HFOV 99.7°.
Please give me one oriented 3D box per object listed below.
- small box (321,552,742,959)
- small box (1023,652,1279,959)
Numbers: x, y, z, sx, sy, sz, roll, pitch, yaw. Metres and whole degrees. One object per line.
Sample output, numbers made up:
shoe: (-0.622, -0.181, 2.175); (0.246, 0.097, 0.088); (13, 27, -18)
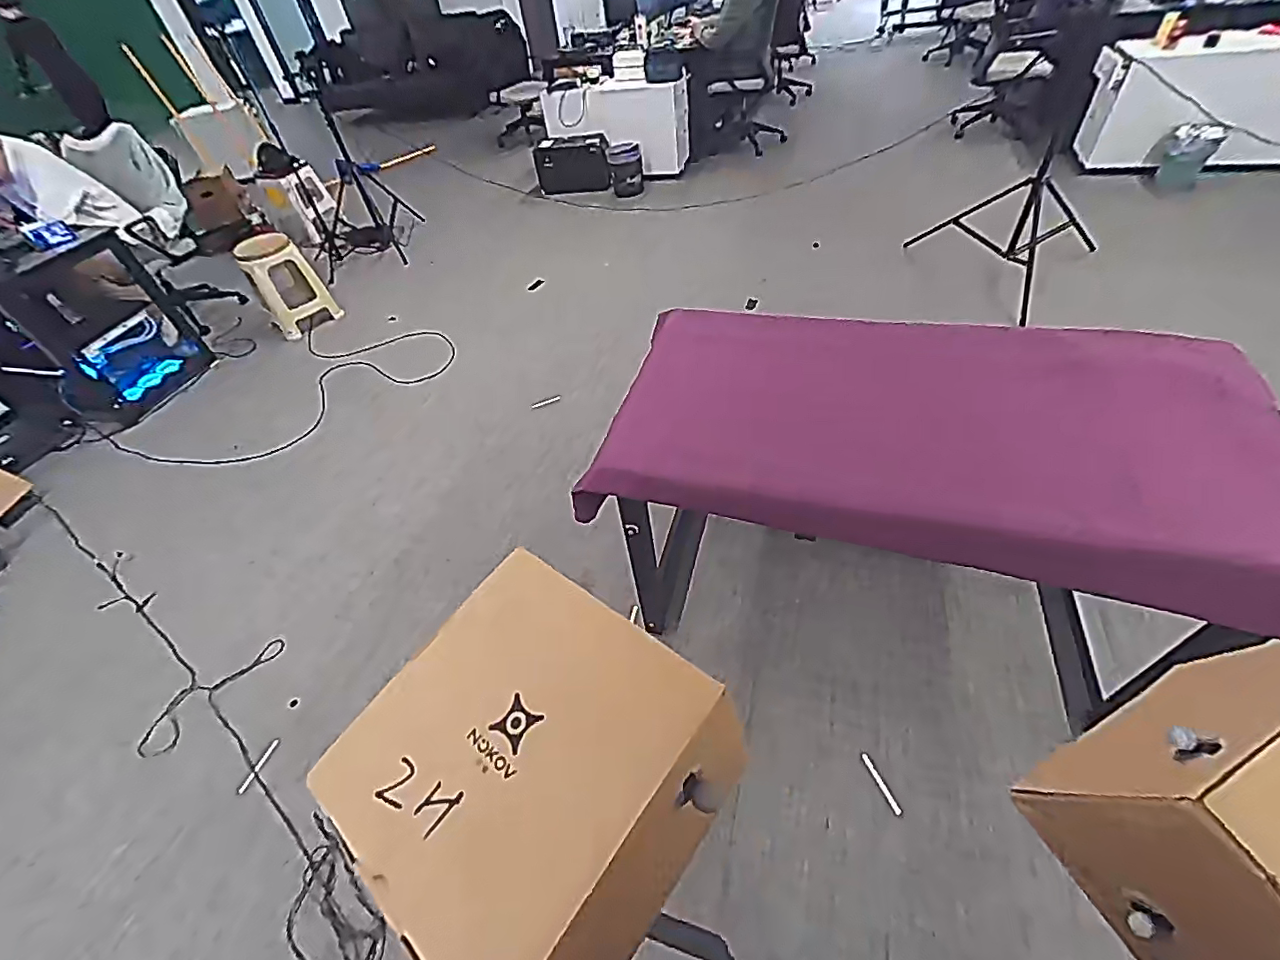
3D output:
small box: (-0.047, 0.185, 0.349); (0.168, 0.176, 0.179); (26, 65, 33)
small box: (0.365, 0.203, 0.289); (0.179, 0.176, 0.168); (-28, 62, -9)
